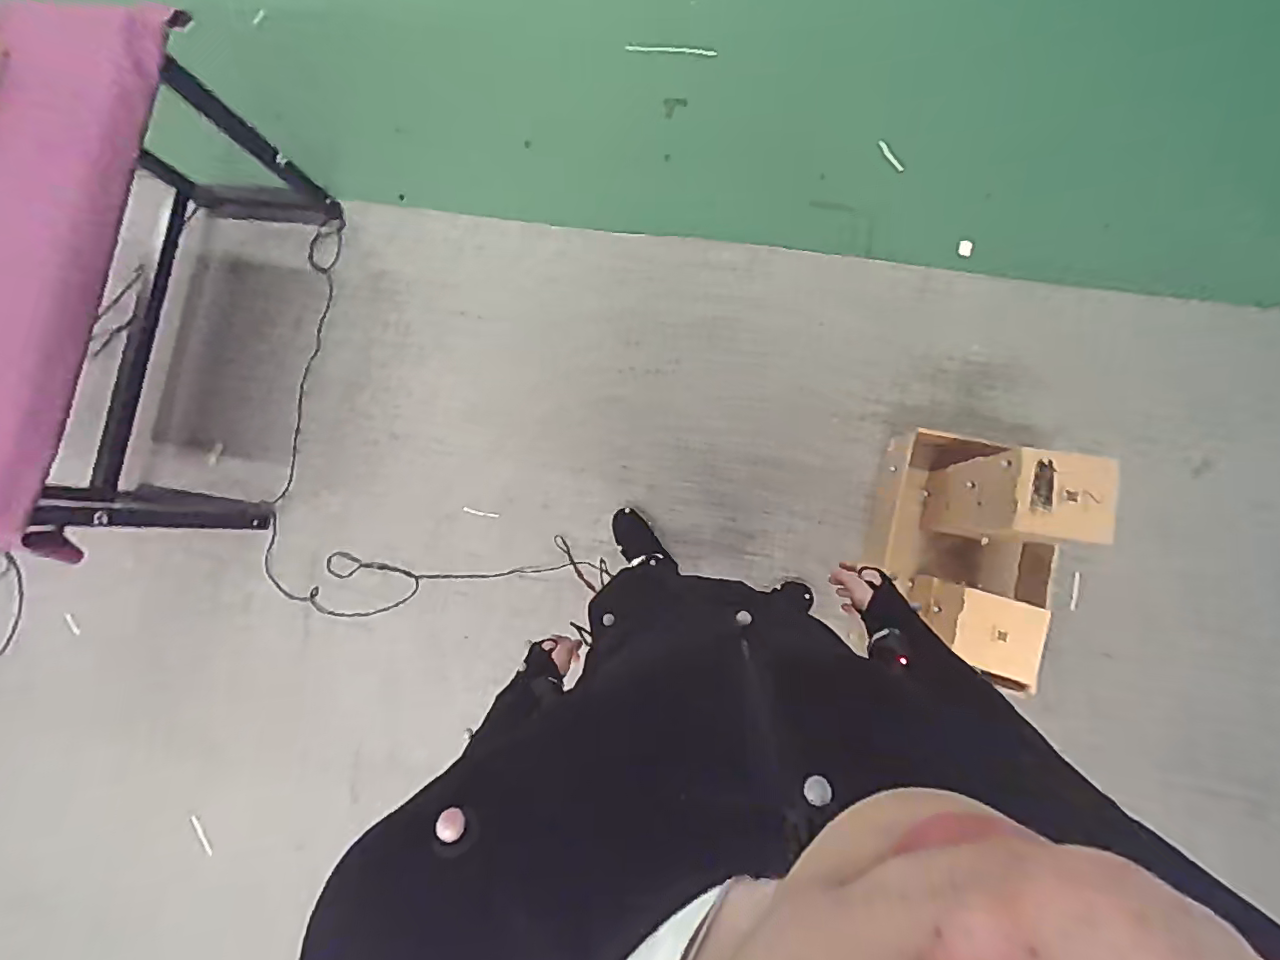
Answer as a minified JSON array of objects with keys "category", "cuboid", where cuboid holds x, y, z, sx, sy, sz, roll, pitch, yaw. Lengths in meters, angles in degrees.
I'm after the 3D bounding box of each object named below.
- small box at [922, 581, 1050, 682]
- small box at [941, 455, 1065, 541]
[{"category":"small box","cuboid":[0.791,0.340,1.252,0.179,0.176,0.168,16,87,10]},{"category":"small box","cuboid":[0.845,0.046,1.272,0.179,0.176,0.168,10,85,8]}]
